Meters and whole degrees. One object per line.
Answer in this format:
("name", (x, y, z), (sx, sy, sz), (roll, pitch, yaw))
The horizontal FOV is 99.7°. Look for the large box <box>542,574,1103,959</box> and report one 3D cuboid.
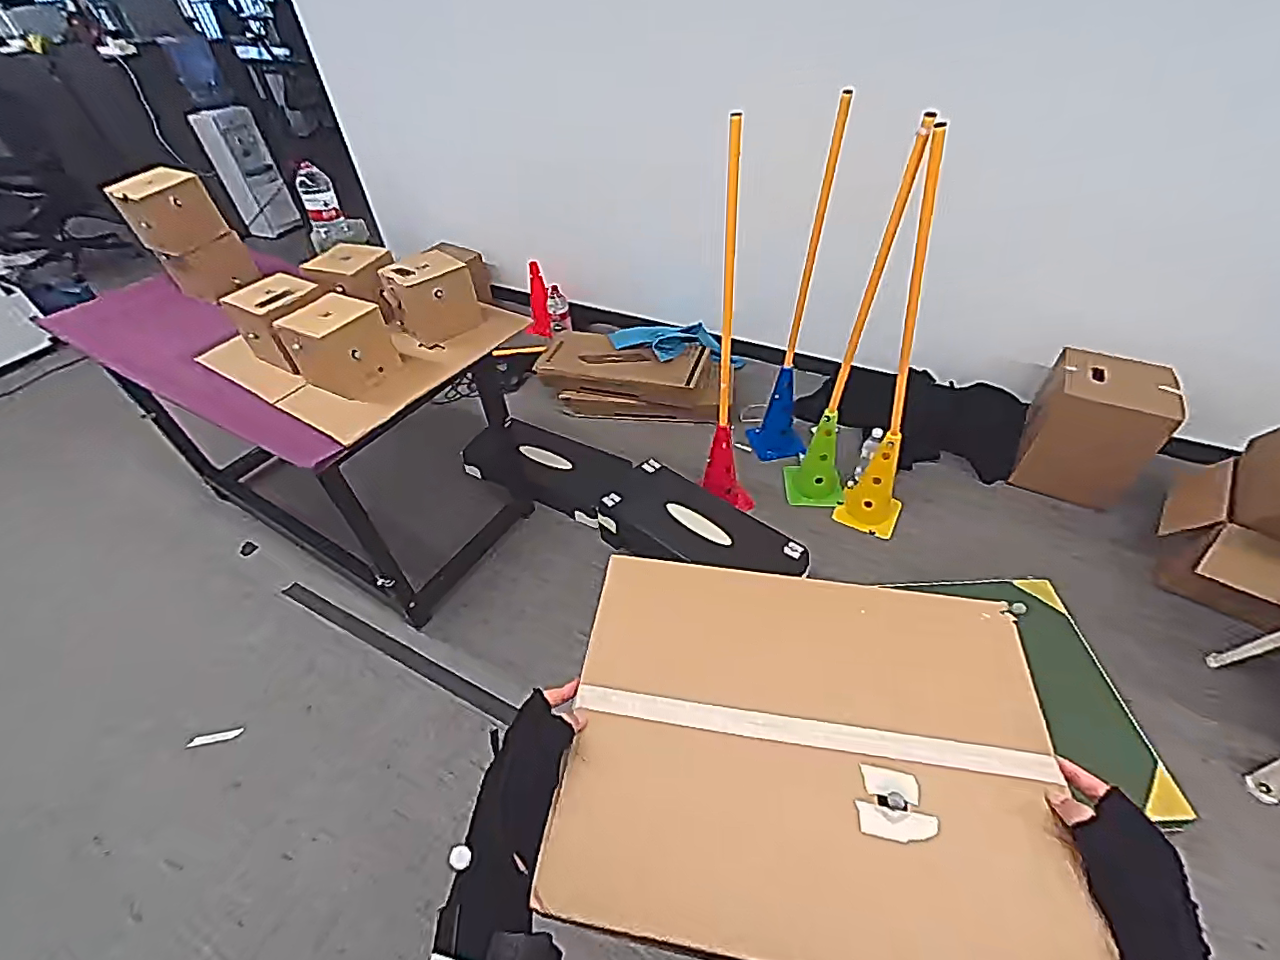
("large box", (0.147, 0.332, 0.582), (0.408, 0.320, 0.320), (6, 50, 8))
